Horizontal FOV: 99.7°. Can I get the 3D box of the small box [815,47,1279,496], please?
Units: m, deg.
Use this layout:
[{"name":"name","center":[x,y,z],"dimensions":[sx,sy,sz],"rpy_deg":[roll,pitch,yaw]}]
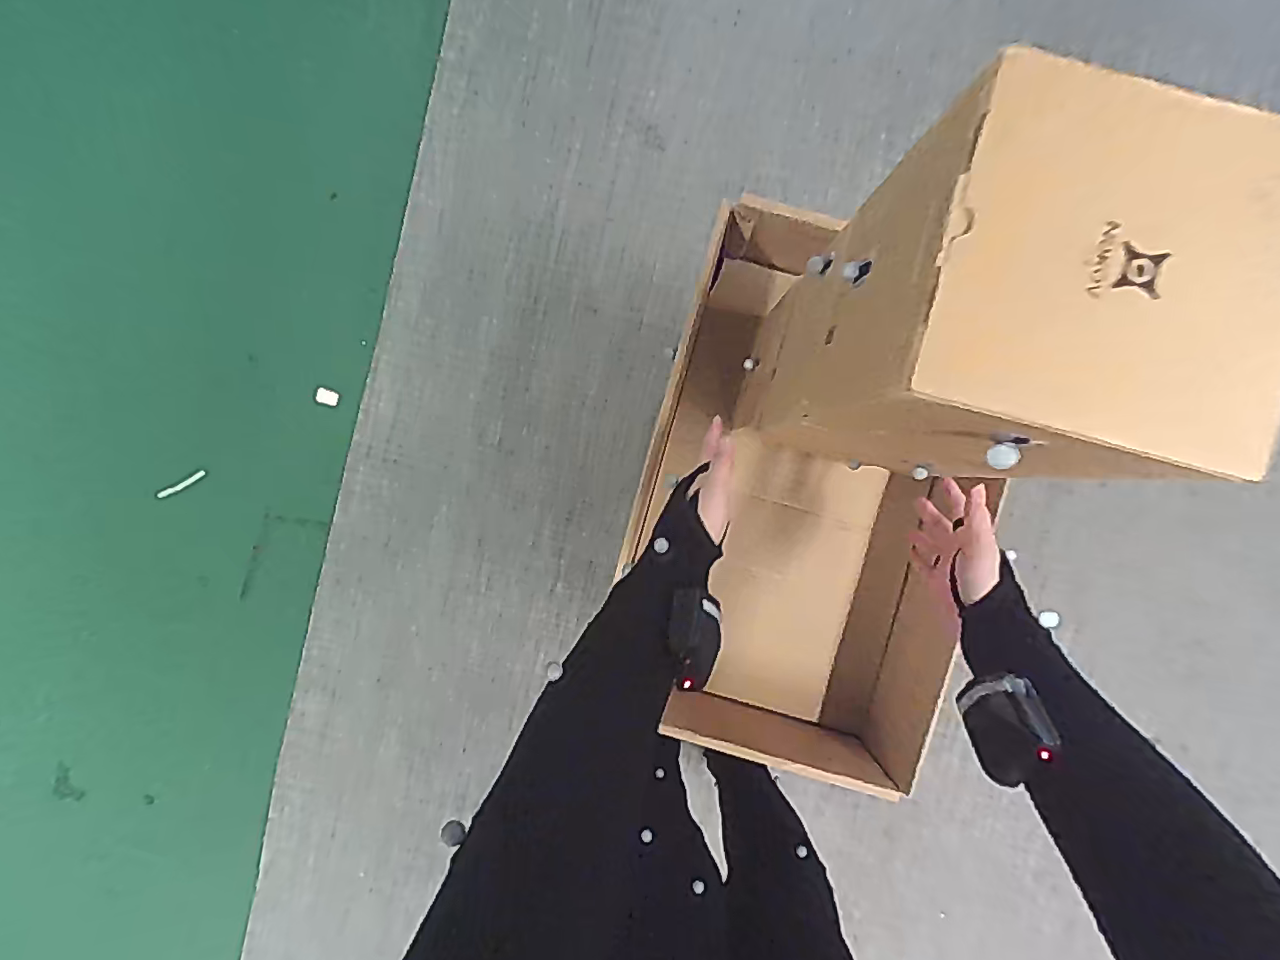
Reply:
[{"name":"small box","center":[0.232,-0.097,0.325],"dimensions":[0.179,0.176,0.168],"rpy_deg":[15,92,0]}]
